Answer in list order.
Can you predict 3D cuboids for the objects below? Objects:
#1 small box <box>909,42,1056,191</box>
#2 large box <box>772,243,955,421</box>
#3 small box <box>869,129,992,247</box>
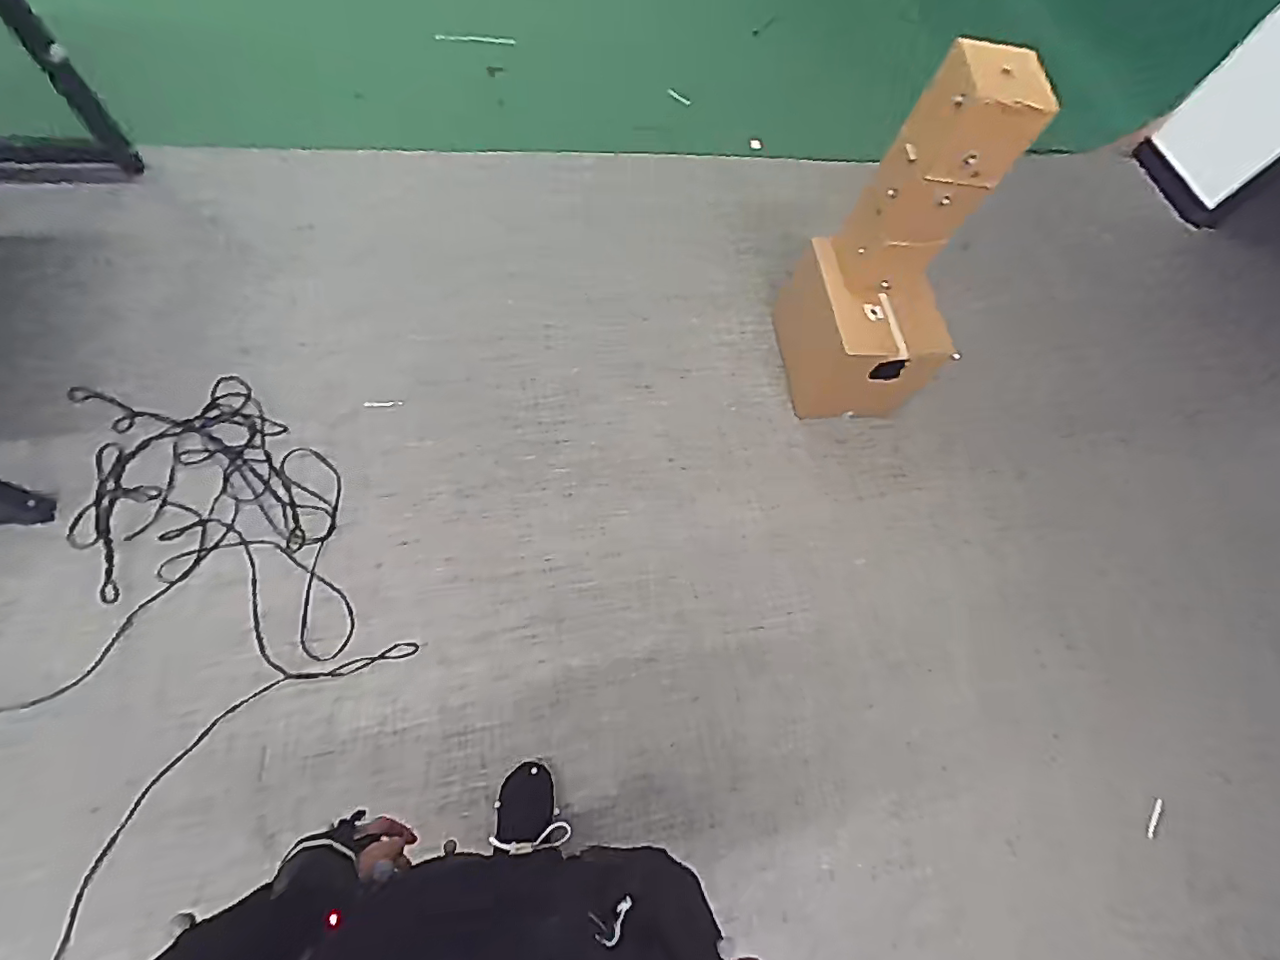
[{"bbox_3d":[0.672,-0.723,1.087,0.168,0.176,0.179,2,68,-9],"label":"small box"},{"bbox_3d":[0.619,-0.420,1.574,0.320,0.320,0.408,-3,68,-9],"label":"large box"},{"bbox_3d":[0.648,-0.658,1.235,0.179,0.176,0.168,1,68,-10],"label":"small box"}]
